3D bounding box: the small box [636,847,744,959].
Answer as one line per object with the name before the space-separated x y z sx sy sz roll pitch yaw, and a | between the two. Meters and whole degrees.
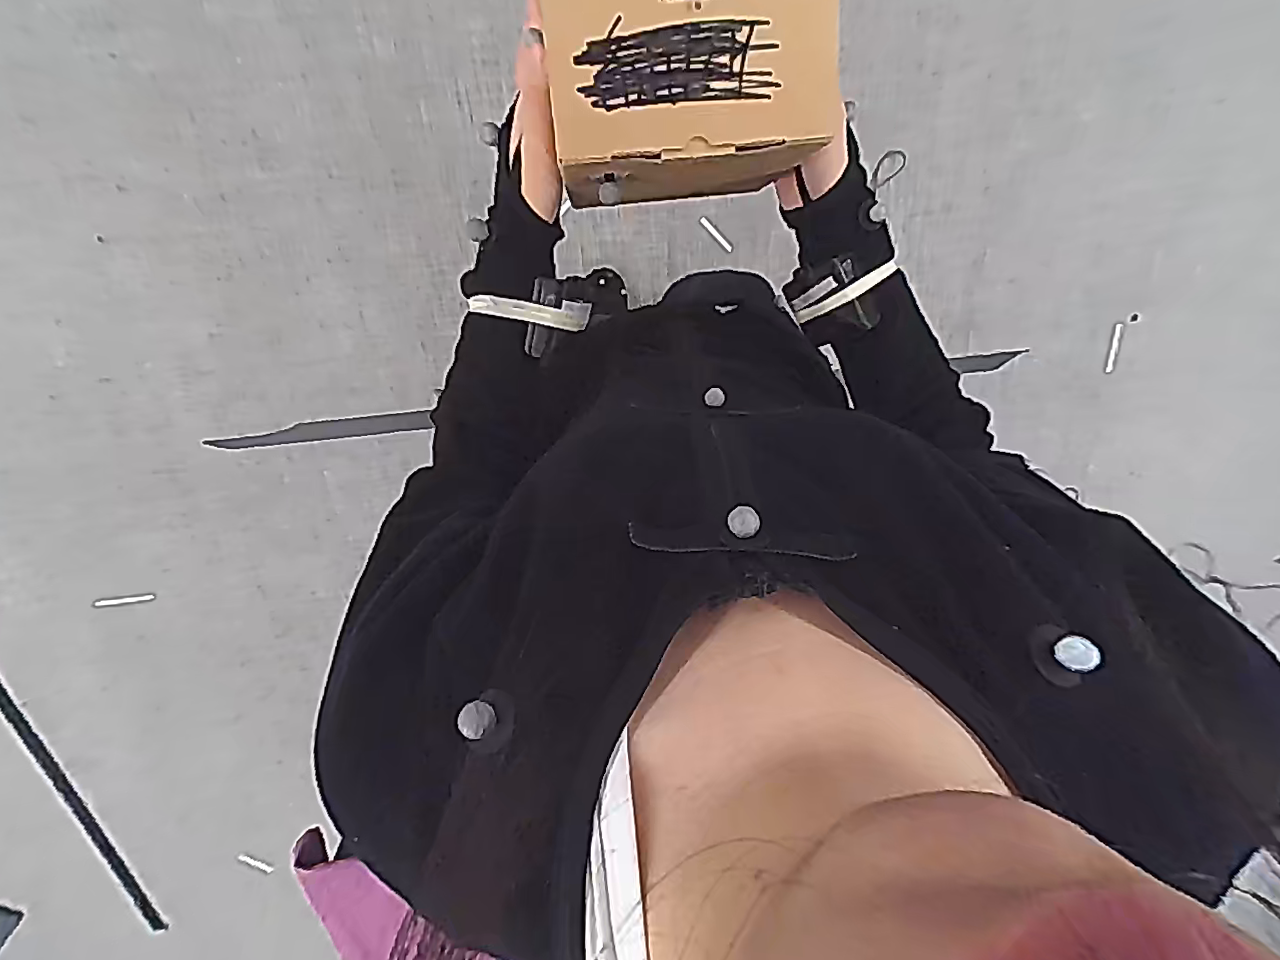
small box | 0.085 0.820 0.993 0.168 0.176 0.179 -6 112 -6
